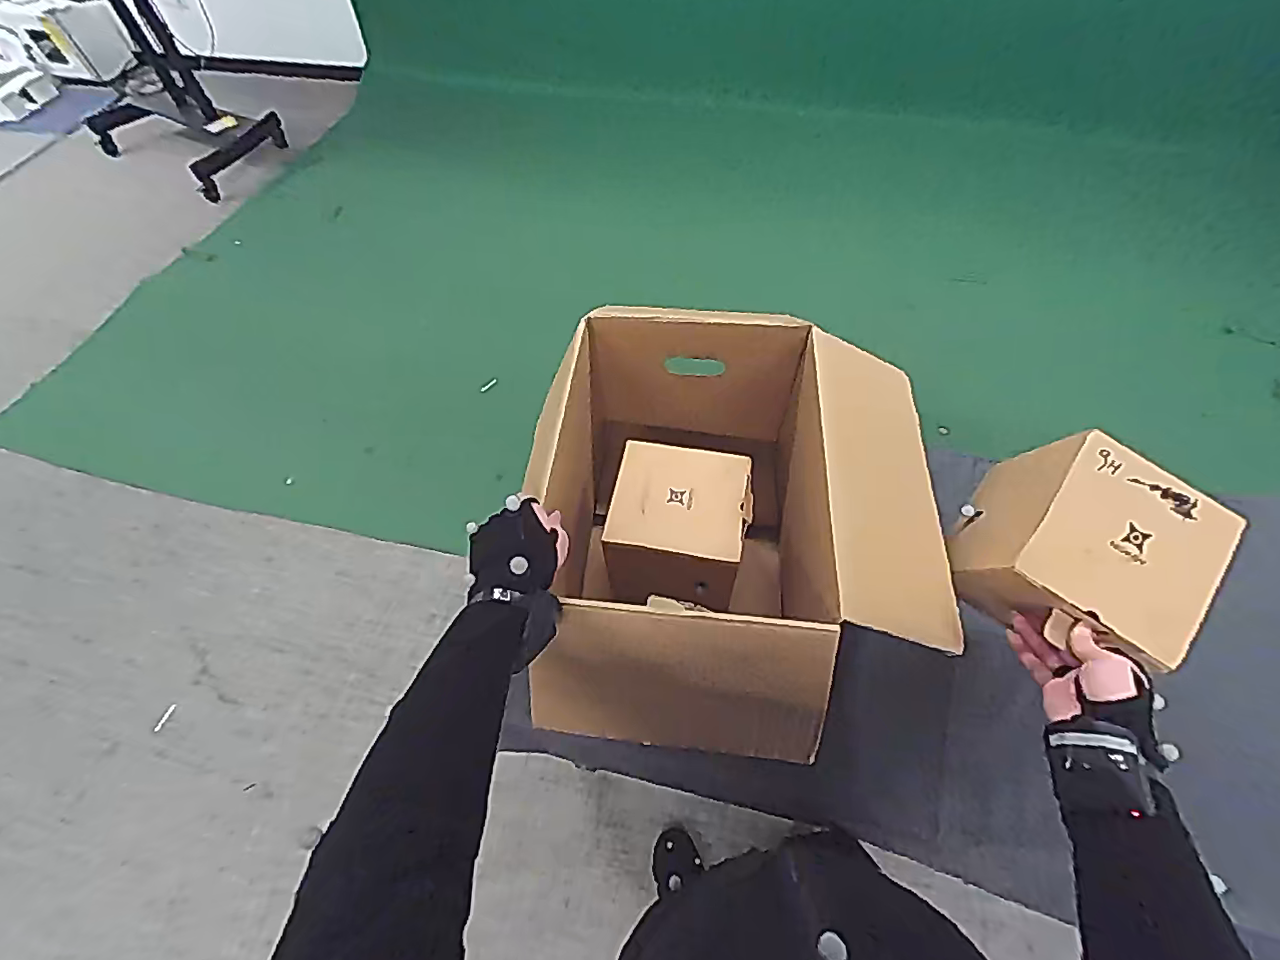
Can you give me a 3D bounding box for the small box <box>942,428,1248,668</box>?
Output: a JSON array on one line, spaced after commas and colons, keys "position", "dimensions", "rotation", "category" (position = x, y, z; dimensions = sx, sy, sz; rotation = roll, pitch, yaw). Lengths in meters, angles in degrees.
[{"position": [0.474, 0.076, 0.599], "dimensions": [0.168, 0.176, 0.179], "rotation": [35, 82, 8], "category": "small box"}]
